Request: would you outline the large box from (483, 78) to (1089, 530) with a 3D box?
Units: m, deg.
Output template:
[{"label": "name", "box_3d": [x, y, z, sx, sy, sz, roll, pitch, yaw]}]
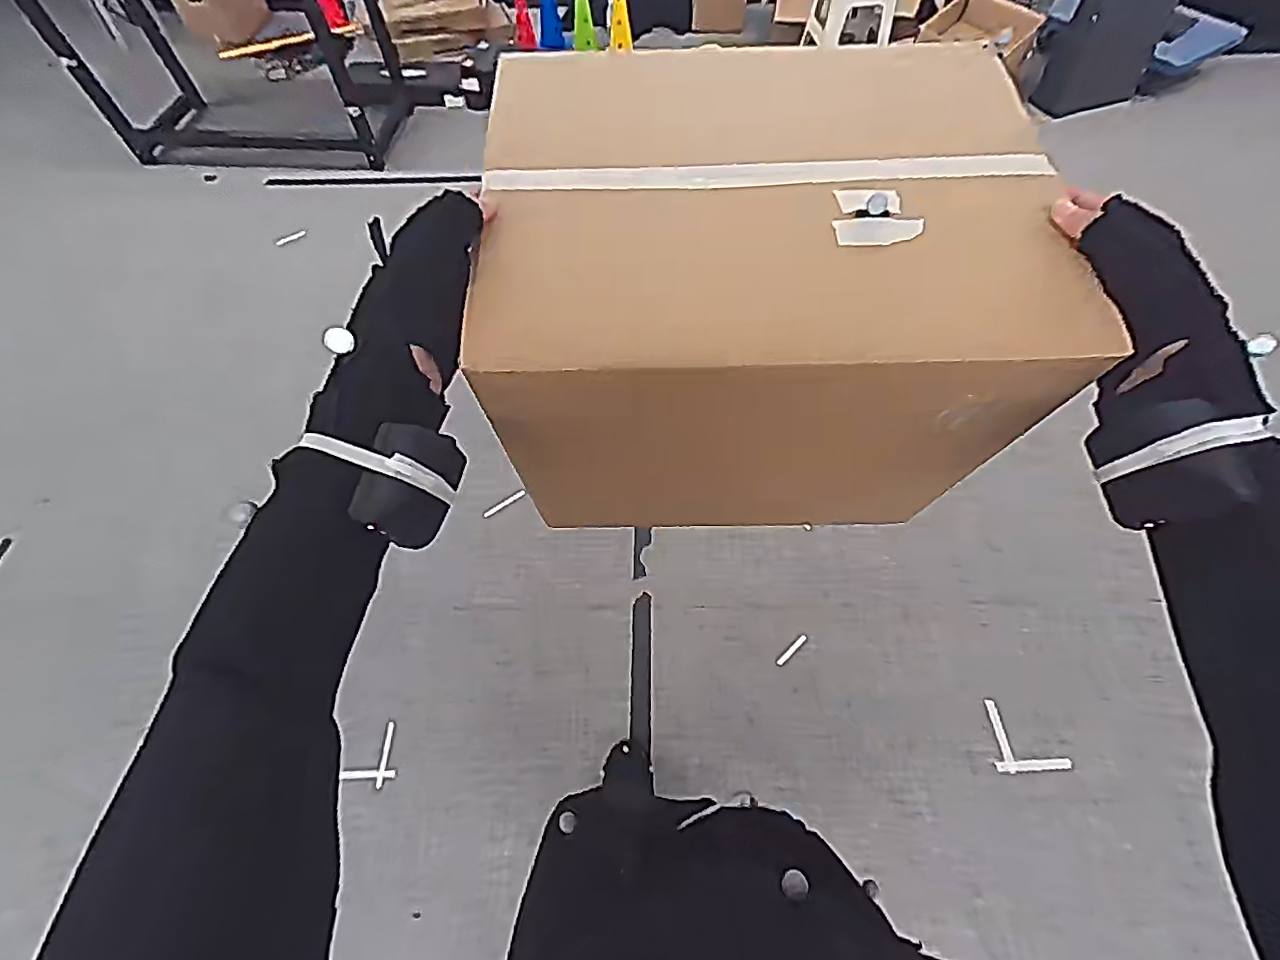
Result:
[{"label": "large box", "box_3d": [0.091, -0.145, 0.543, 0.408, 0.320, 0.320, -1, 67, 0]}]
